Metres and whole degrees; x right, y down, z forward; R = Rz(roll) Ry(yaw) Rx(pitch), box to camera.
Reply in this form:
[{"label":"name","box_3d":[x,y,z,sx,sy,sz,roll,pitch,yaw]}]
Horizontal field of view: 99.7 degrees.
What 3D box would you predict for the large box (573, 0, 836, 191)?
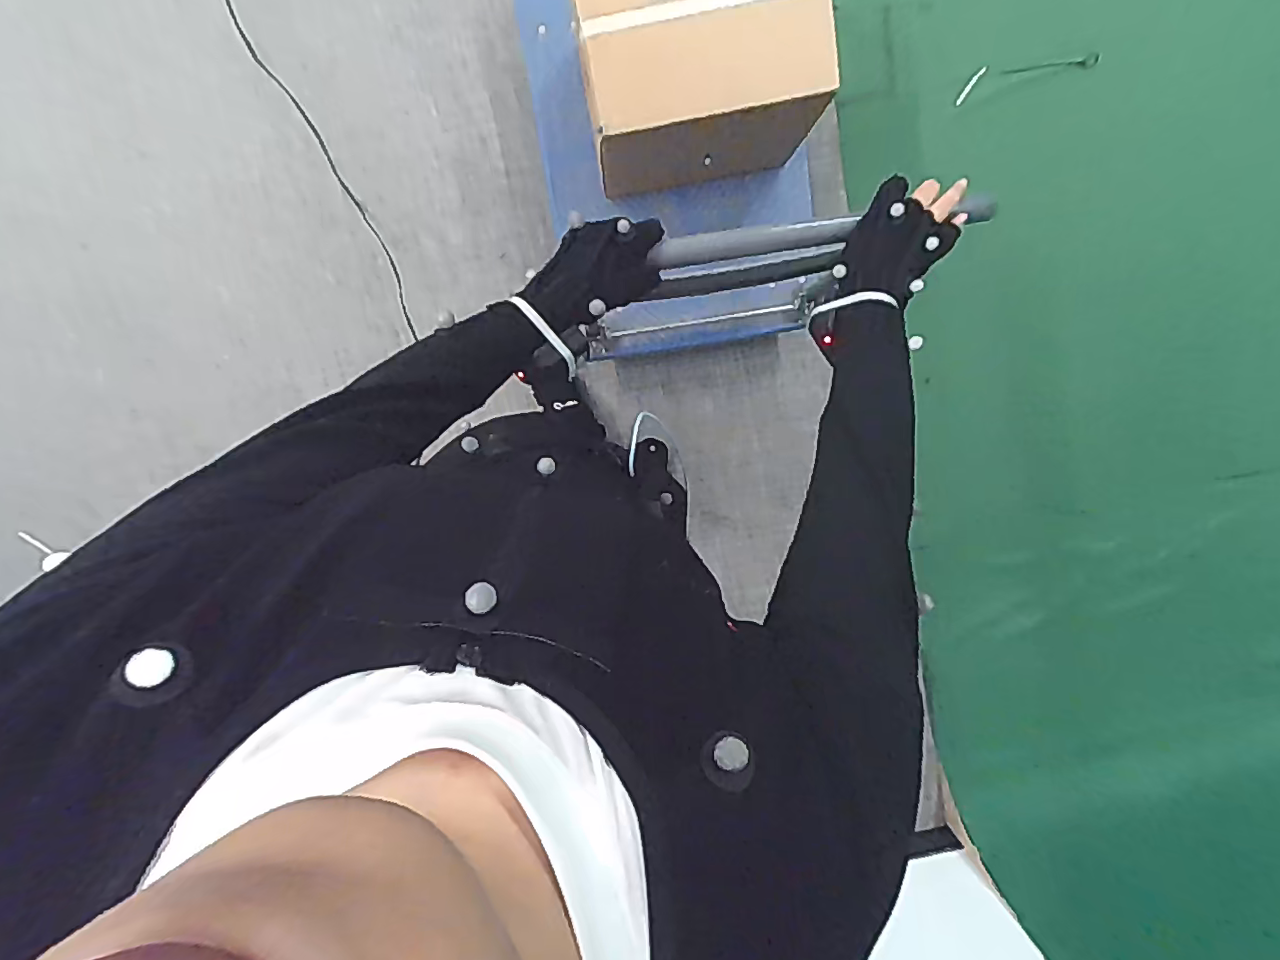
[{"label":"large box","box_3d":[0.102,-0.793,1.020,0.408,0.320,0.320,-11,100,1]}]
